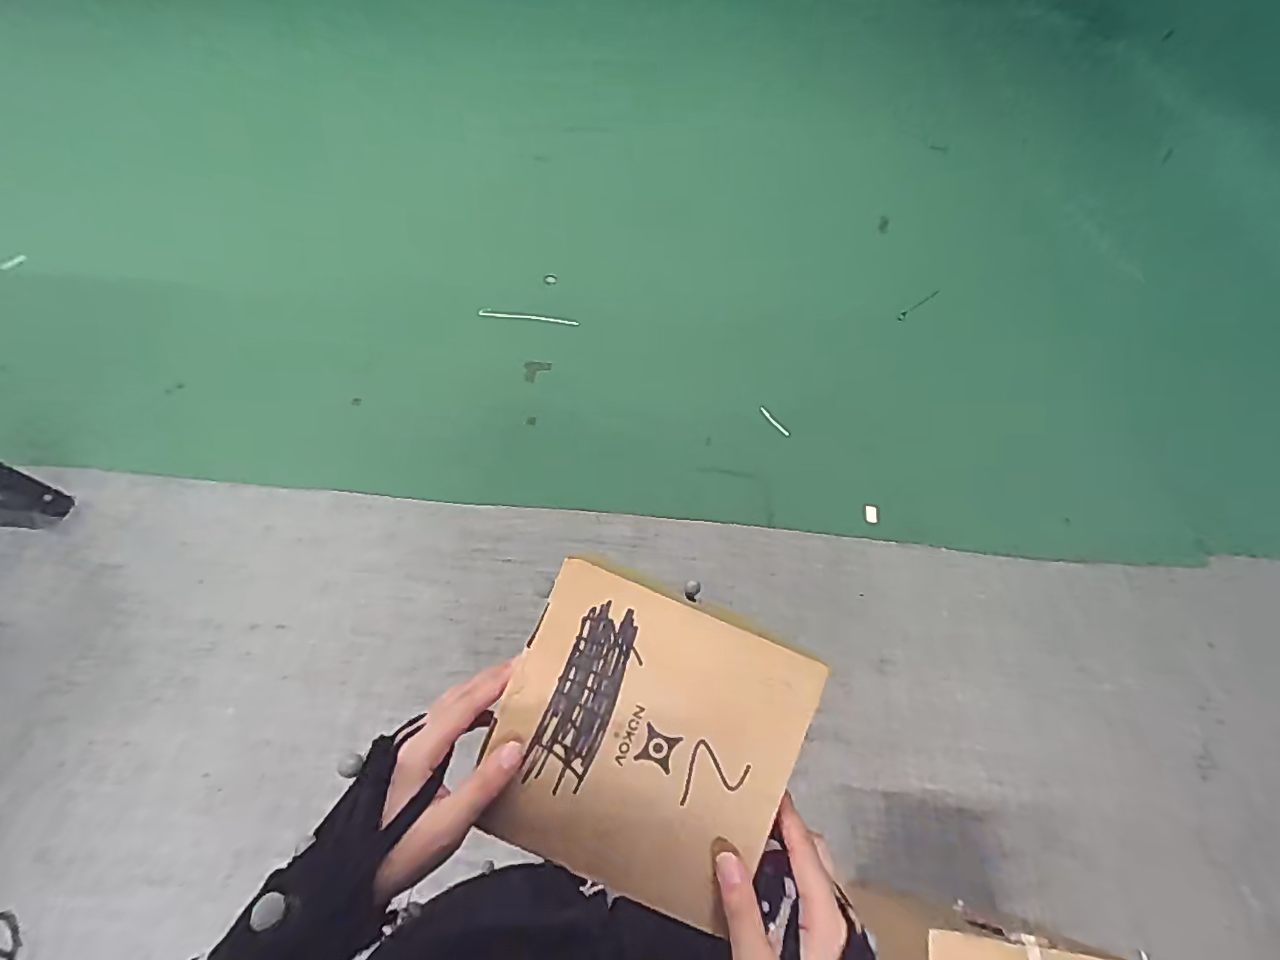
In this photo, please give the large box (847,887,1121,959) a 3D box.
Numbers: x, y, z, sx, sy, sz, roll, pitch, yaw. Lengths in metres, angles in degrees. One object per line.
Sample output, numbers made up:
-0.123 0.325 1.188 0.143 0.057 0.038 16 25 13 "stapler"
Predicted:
0.539 0.930 0.845 0.320 0.320 0.408 9 63 1 "large box"
